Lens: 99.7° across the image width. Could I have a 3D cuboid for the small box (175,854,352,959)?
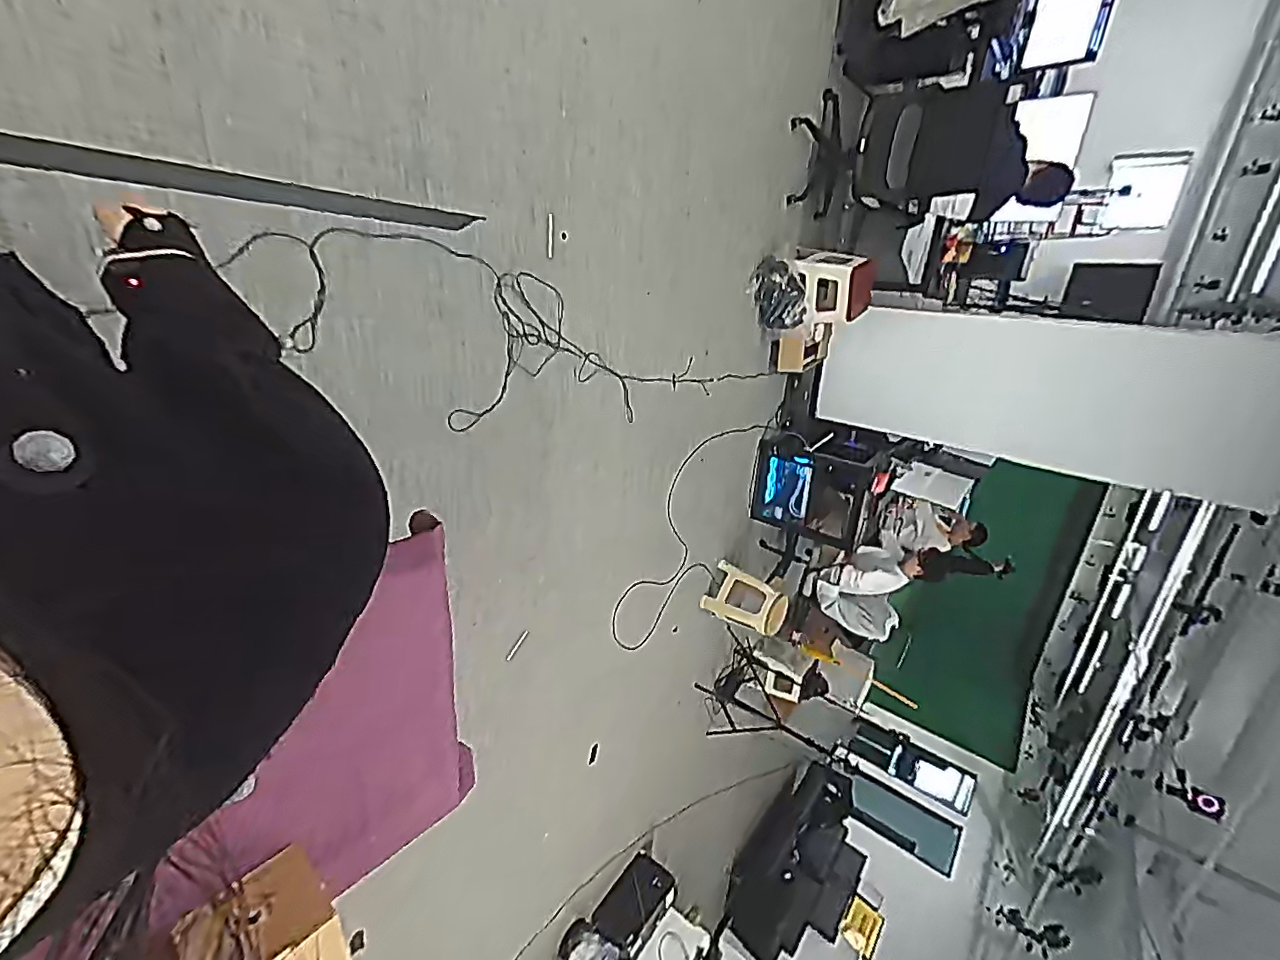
[{"bbox_3d":[-0.561,0.715,0.816,0.168,0.176,0.179,-22,120,-47],"label":"small box"}]
